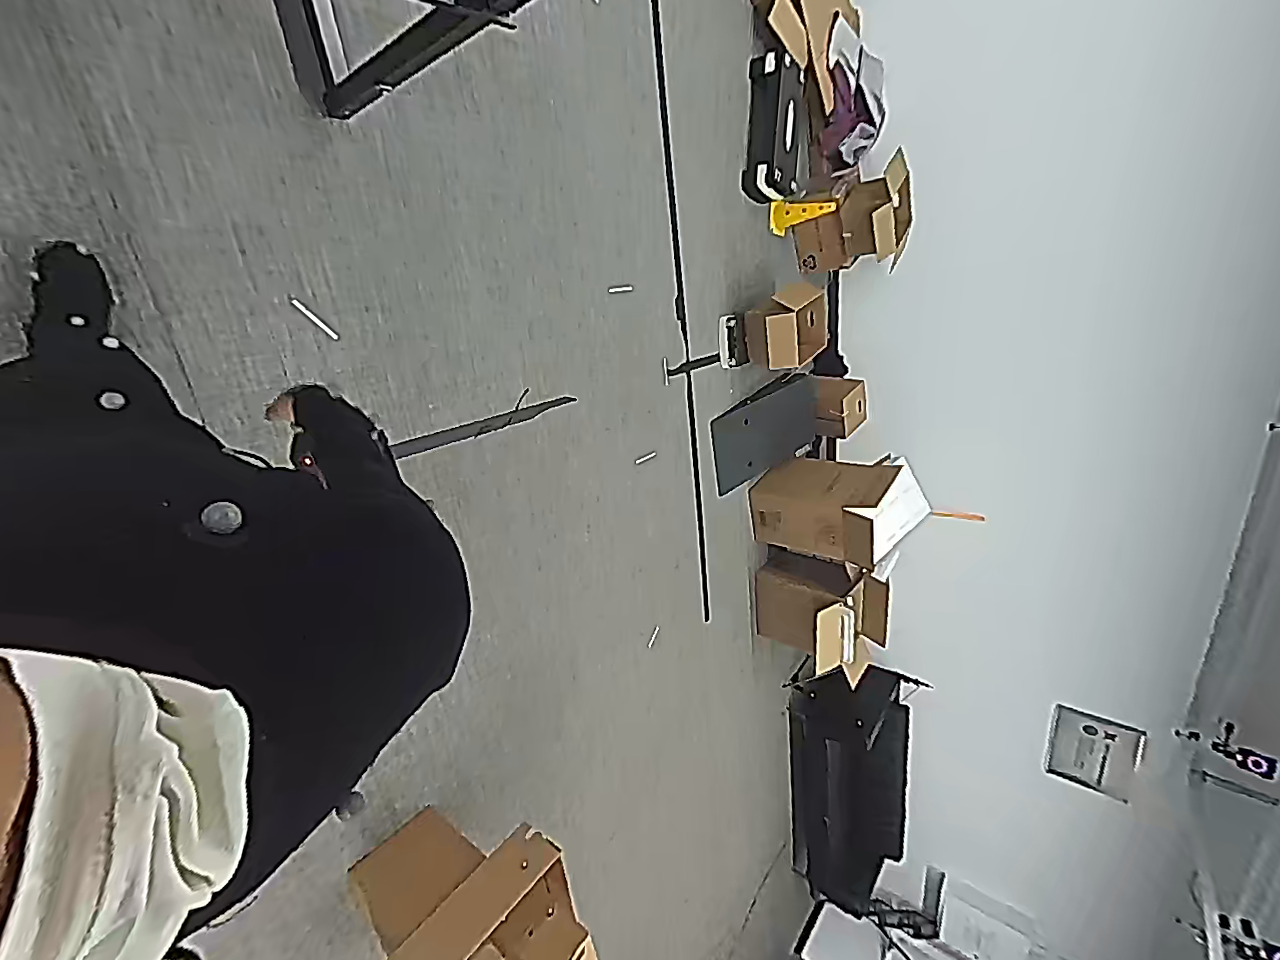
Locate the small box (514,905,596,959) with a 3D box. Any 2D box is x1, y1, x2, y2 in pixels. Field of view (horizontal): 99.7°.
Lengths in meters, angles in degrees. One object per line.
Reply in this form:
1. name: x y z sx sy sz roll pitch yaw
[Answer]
1. small box: -0.256 1.437 1.626 0.168 0.176 0.179 -33 124 -43
